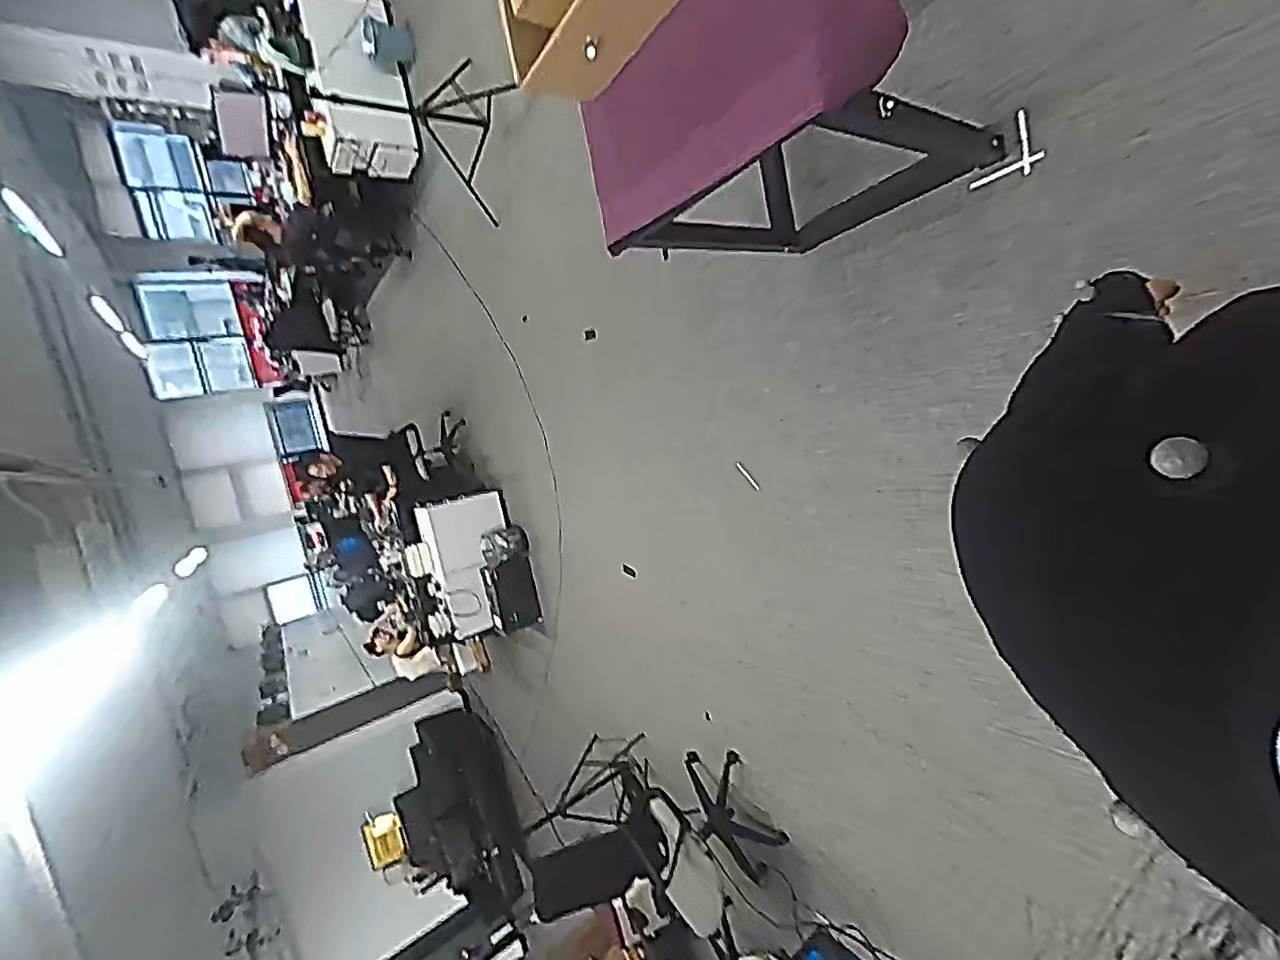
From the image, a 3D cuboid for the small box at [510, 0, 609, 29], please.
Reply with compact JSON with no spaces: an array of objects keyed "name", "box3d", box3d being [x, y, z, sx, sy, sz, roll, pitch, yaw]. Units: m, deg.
[{"name":"small box","box3d":[-0.144,-0.988,0.990,0.168,0.176,0.179,-8,96,55]}]
